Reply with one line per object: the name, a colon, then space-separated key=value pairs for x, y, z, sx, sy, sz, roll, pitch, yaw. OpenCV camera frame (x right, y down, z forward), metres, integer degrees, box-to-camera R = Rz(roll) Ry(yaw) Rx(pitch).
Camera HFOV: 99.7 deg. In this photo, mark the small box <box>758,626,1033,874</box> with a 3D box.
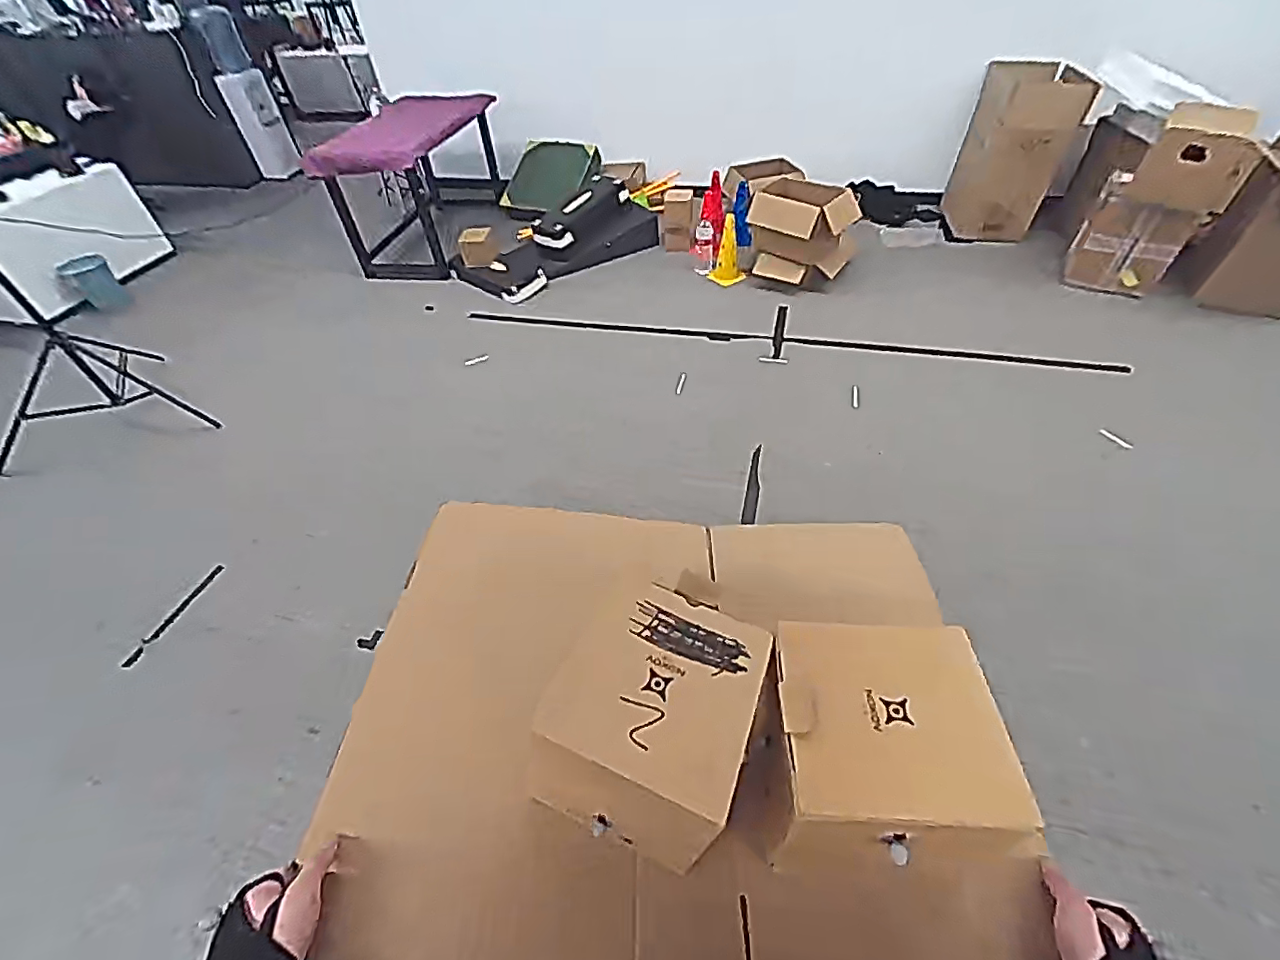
small box: x=0.215 y=0.258 z=0.517 sx=0.179 sy=0.176 sz=0.168 roll=0 pitch=43 yaw=5
